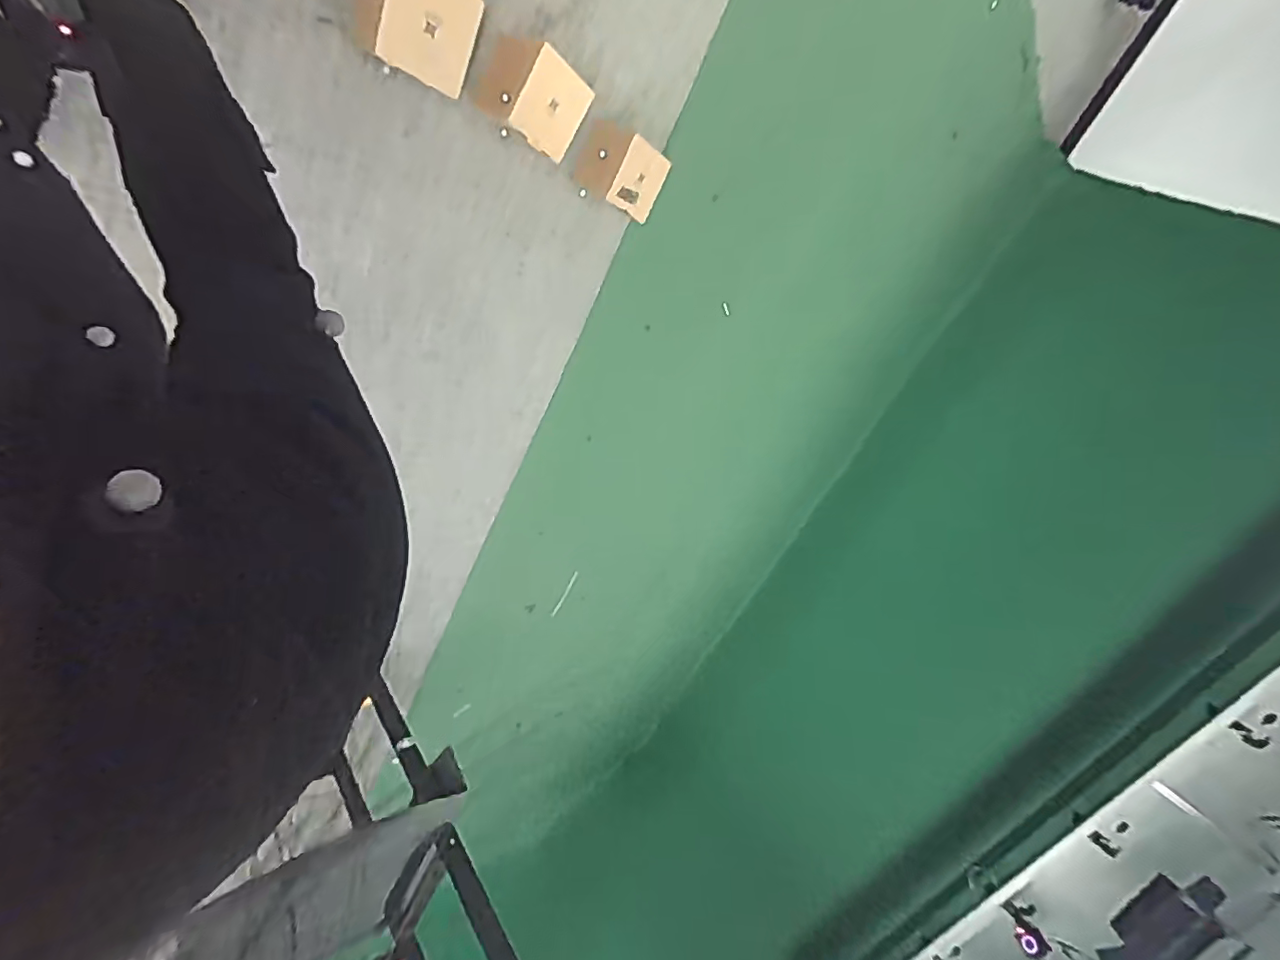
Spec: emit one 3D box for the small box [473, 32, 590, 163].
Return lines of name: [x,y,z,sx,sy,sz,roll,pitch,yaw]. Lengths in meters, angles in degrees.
small box: [-0.256,-0.886,1.252,0.168,0.176,0.179,10,117,-54]

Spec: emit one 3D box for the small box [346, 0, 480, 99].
small box: [-0.440,-0.881,1.034,0.168,0.176,0.179,-1,127,-48]

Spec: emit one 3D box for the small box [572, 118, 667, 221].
small box: [-0.064,-0.864,1.506,0.168,0.176,0.179,4,121,-52]
